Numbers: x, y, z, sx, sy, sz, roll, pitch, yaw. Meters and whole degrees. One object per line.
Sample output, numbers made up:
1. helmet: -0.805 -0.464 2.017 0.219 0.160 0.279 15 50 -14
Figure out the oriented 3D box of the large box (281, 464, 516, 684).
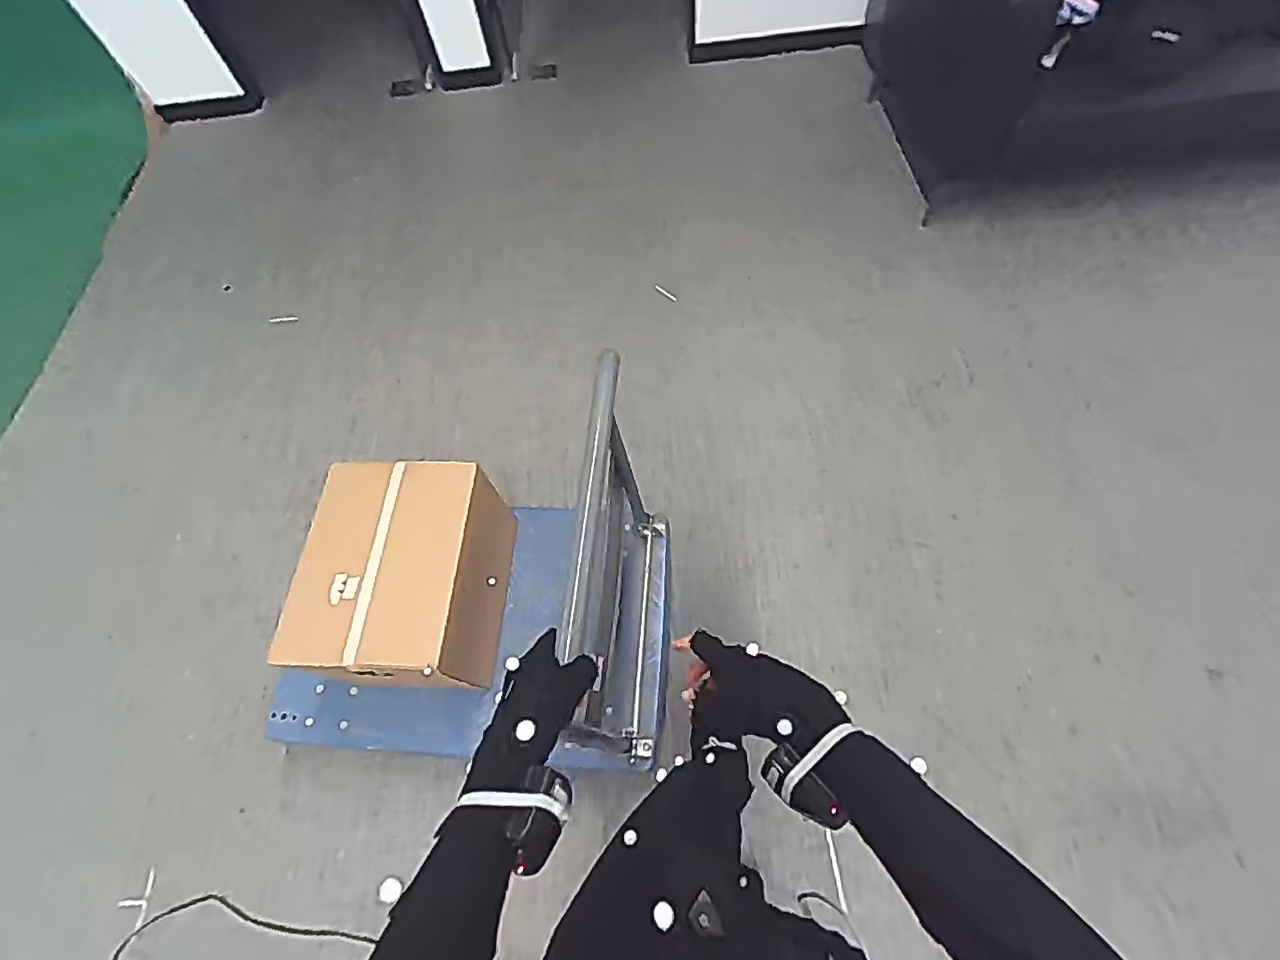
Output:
1. large box: -0.475 0.211 1.169 0.320 0.320 0.408 -1 64 5
